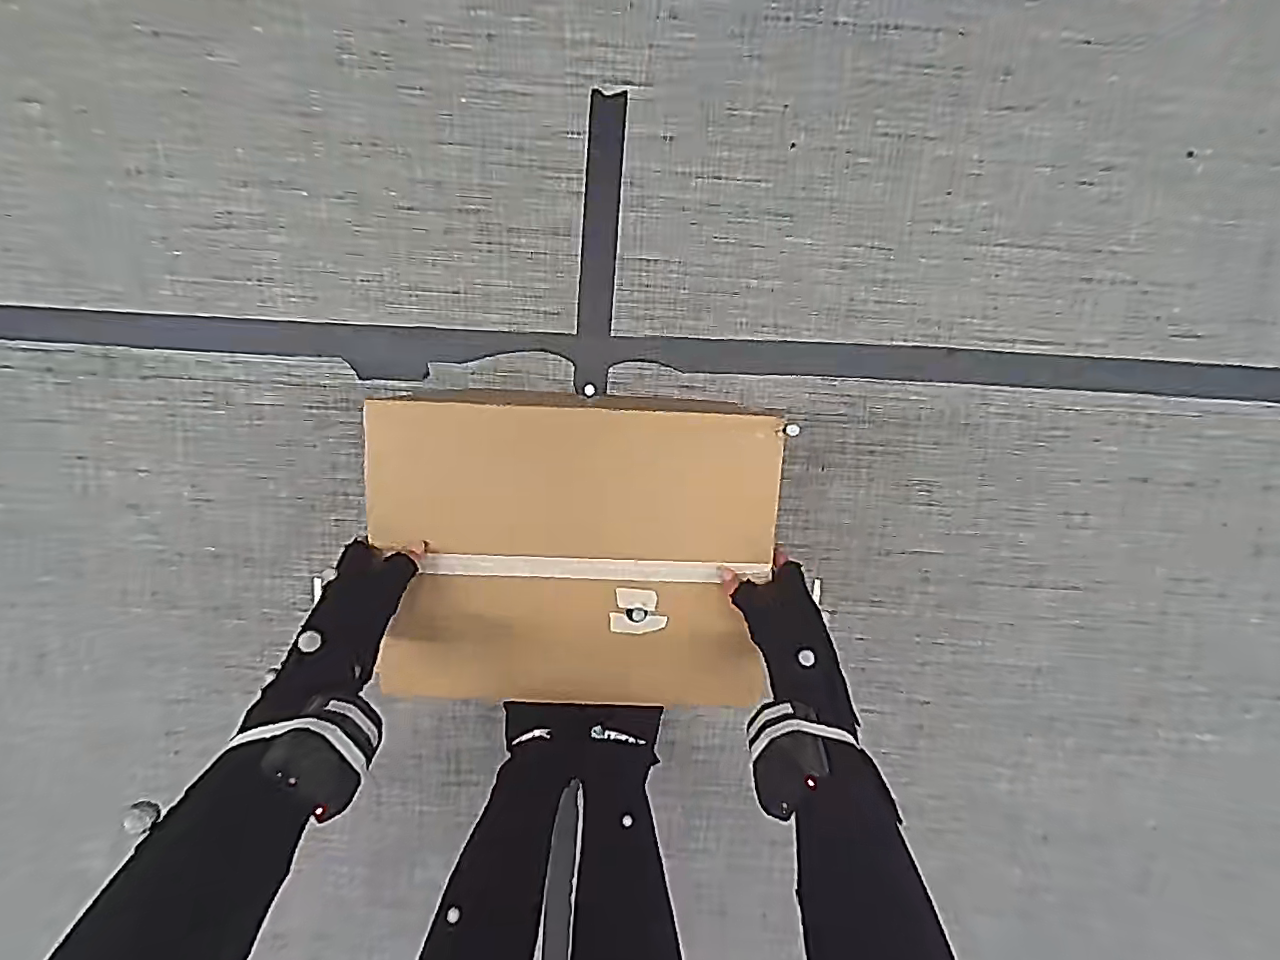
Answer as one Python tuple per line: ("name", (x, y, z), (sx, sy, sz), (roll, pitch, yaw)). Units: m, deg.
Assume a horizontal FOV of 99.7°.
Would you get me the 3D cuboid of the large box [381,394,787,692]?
("large box", (-0.062, 0.049, 0.699), (0.408, 0.320, 0.320), (2, 102, -2))
